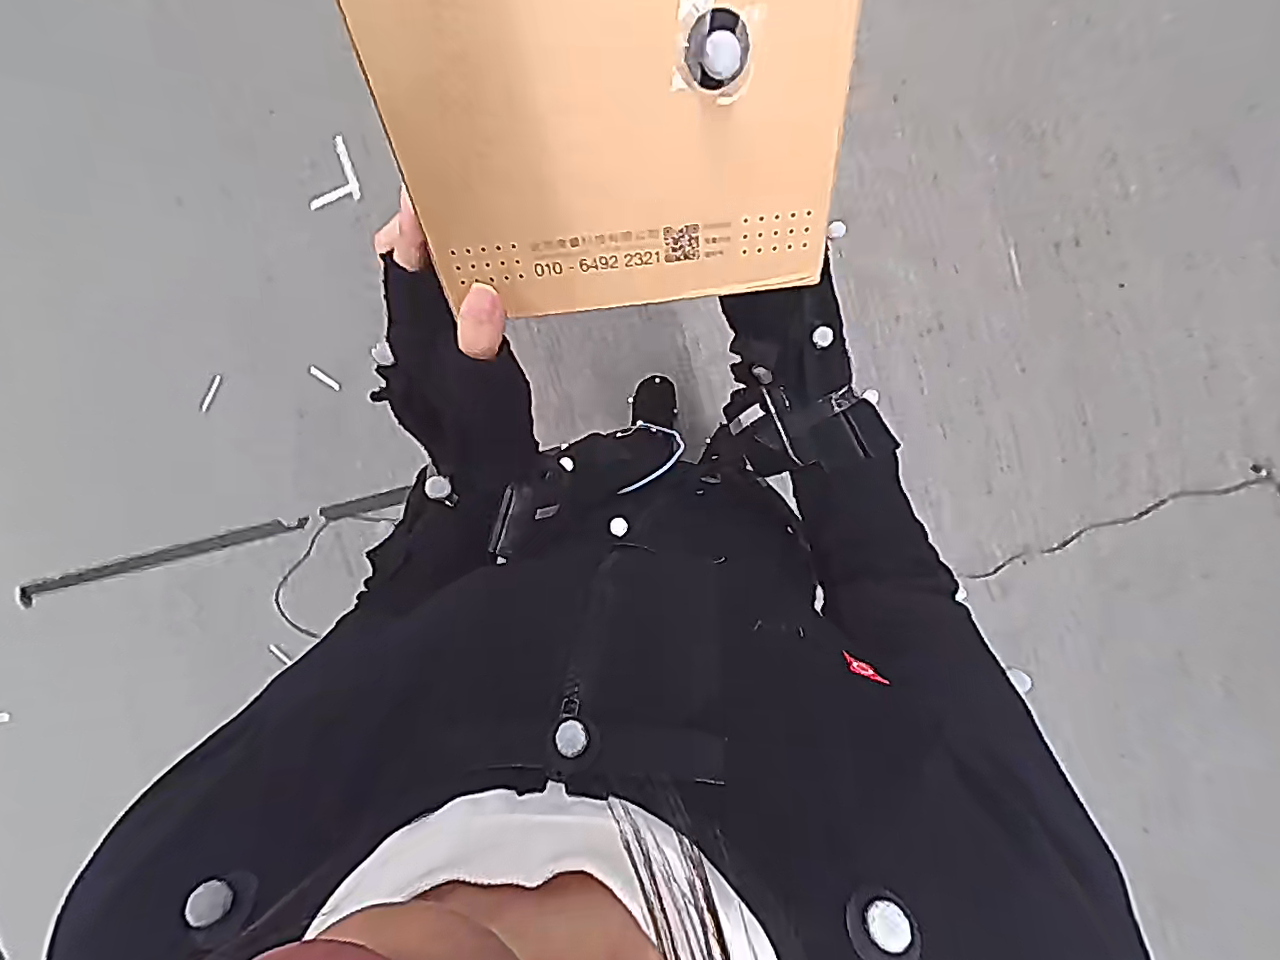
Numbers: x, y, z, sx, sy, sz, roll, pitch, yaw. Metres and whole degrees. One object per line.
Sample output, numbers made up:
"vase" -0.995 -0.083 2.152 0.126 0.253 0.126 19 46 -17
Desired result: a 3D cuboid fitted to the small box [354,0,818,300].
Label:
"small box" -0.015 -0.201 0.265 0.168 0.179 0.176 -5 135 3
